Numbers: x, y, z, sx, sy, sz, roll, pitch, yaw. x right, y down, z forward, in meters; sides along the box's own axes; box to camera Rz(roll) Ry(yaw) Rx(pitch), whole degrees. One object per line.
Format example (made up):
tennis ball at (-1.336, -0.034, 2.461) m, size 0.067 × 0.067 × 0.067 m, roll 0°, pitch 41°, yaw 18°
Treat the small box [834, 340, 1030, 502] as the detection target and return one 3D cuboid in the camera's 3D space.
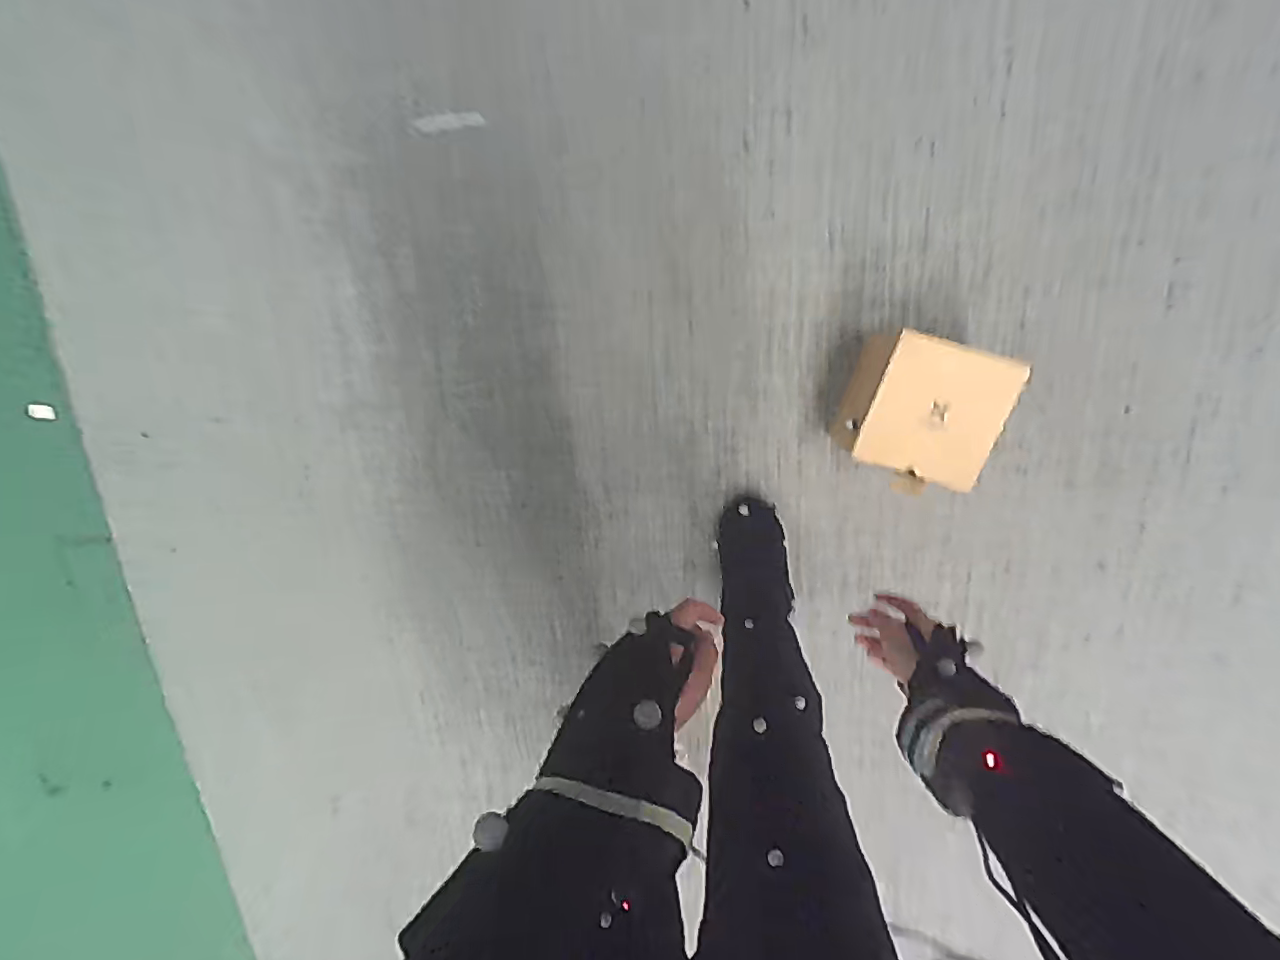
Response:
small box at (0.396, -0.094, 0.774) m, size 0.168 × 0.176 × 0.179 m, roll 18°, pitch 107°, yaw 4°
